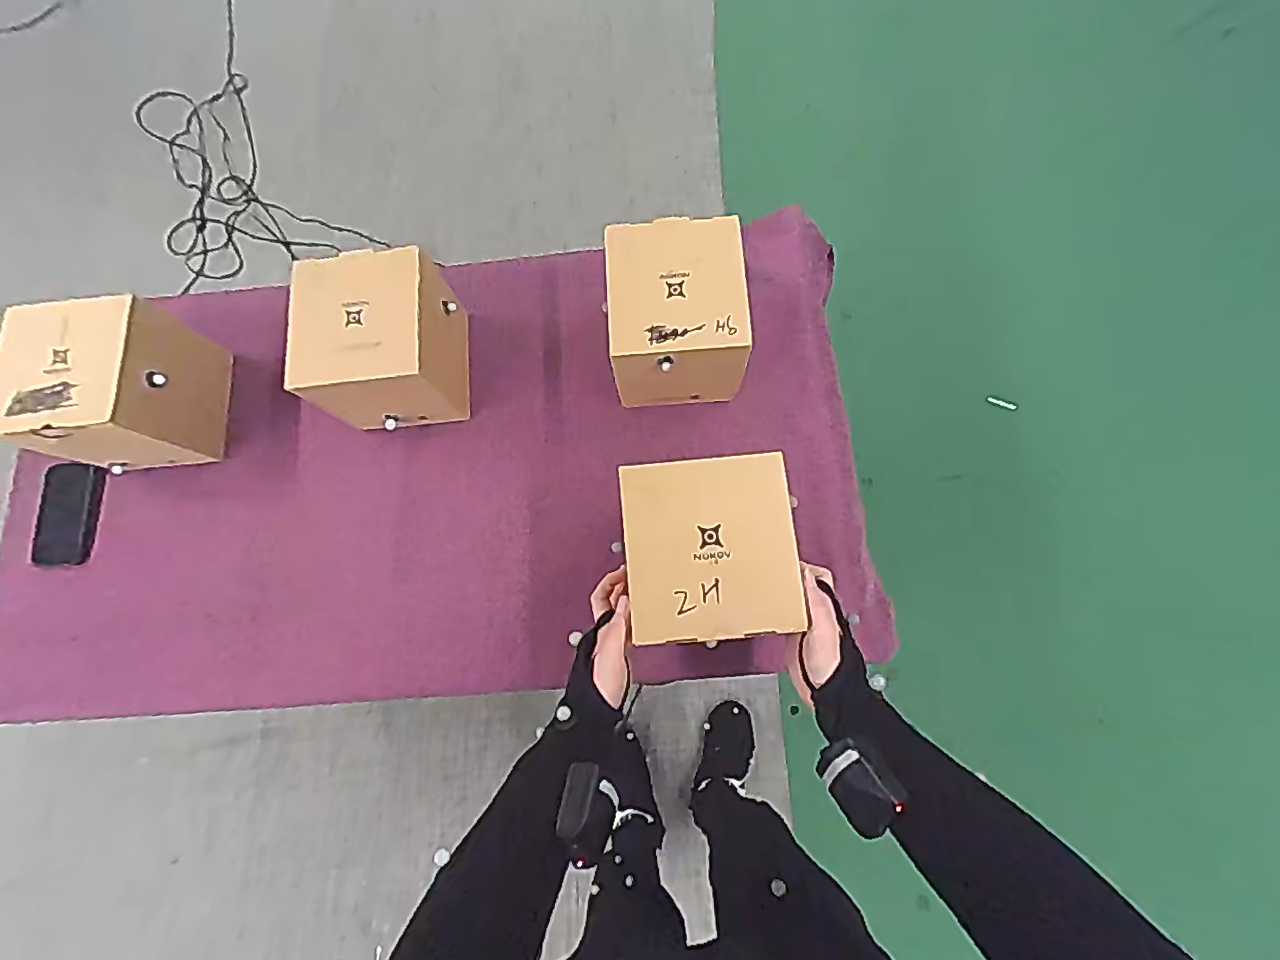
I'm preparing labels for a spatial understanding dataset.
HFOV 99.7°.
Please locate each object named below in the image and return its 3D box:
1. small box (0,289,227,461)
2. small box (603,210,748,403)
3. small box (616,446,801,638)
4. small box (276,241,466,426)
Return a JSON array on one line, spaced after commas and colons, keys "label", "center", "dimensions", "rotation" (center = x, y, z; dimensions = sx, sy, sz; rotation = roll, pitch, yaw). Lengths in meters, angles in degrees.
[{"label": "small box", "center": [-0.706, -0.129, 0.733], "dimensions": [0.168, 0.176, 0.179], "rotation": [-5, 76, 2]}, {"label": "small box", "center": [0.042, -0.216, 0.708], "dimensions": [0.168, 0.176, 0.179], "rotation": [-4, 76, 4]}, {"label": "small box", "center": [0.064, 0.074, 0.591], "dimensions": [0.168, 0.176, 0.179], "rotation": [-5, 78, 2]}, {"label": "small box", "center": [-0.345, -0.186, 0.726], "dimensions": [0.168, 0.176, 0.179], "rotation": [-5, 77, 3]}]
